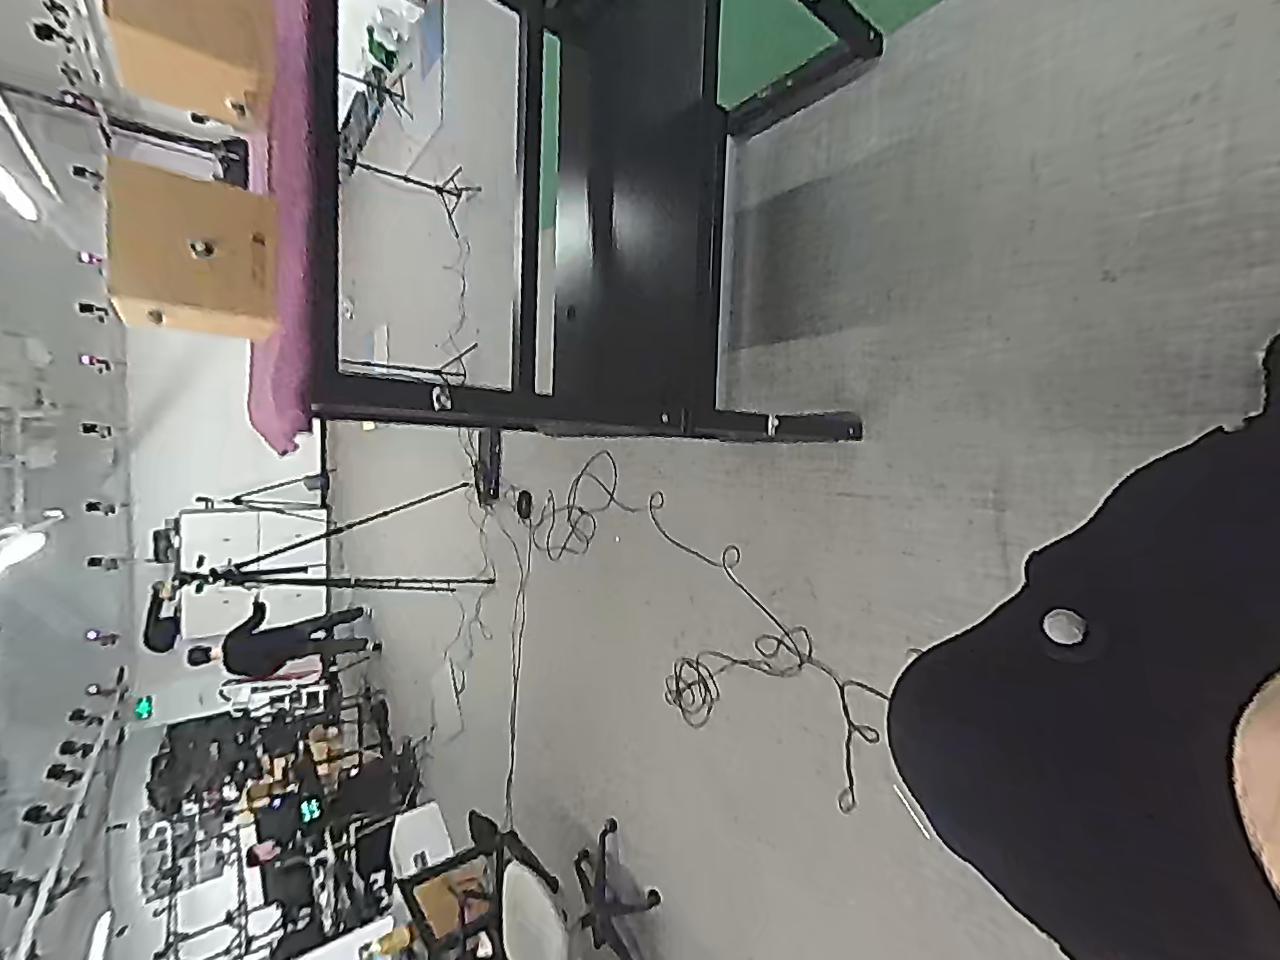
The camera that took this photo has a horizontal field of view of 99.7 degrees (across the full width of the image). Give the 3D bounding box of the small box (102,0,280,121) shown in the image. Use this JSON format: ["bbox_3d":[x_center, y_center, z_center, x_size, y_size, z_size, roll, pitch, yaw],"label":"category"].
[{"bbox_3d":[-0.590,-0.629,0.717,0.168,0.176,0.179,4,94,51],"label":"small box"}]

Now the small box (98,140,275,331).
[{"bbox_3d":[-0.598,-0.308,0.724,0.179,0.176,0.168,4,92,50],"label":"small box"}]
